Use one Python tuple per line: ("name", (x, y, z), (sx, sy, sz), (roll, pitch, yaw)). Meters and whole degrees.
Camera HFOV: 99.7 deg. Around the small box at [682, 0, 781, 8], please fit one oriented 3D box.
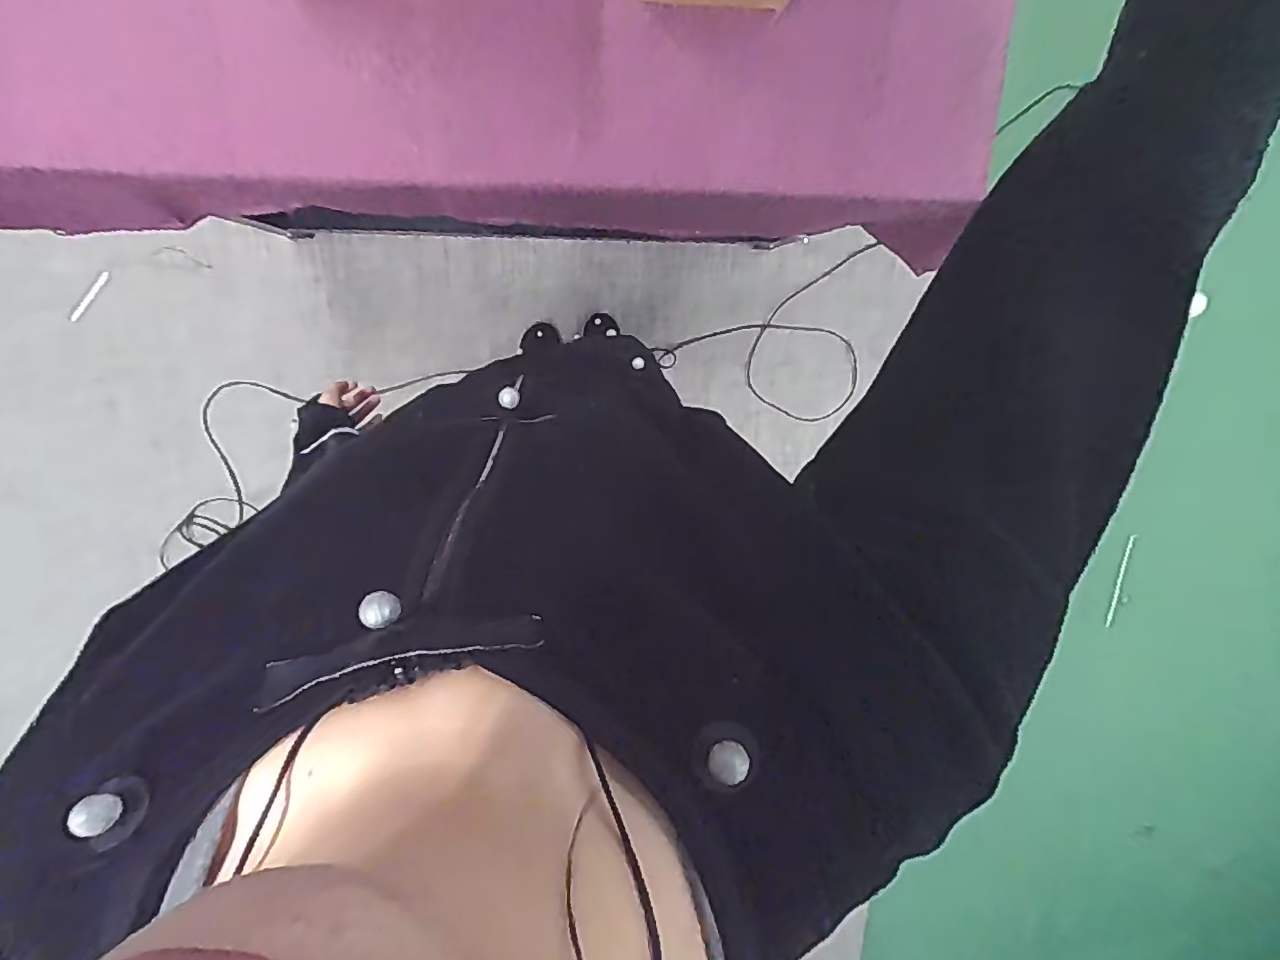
("small box", (0.098, -0.605, 0.528), (0.179, 0.176, 0.168), (-2, 108, -9))
